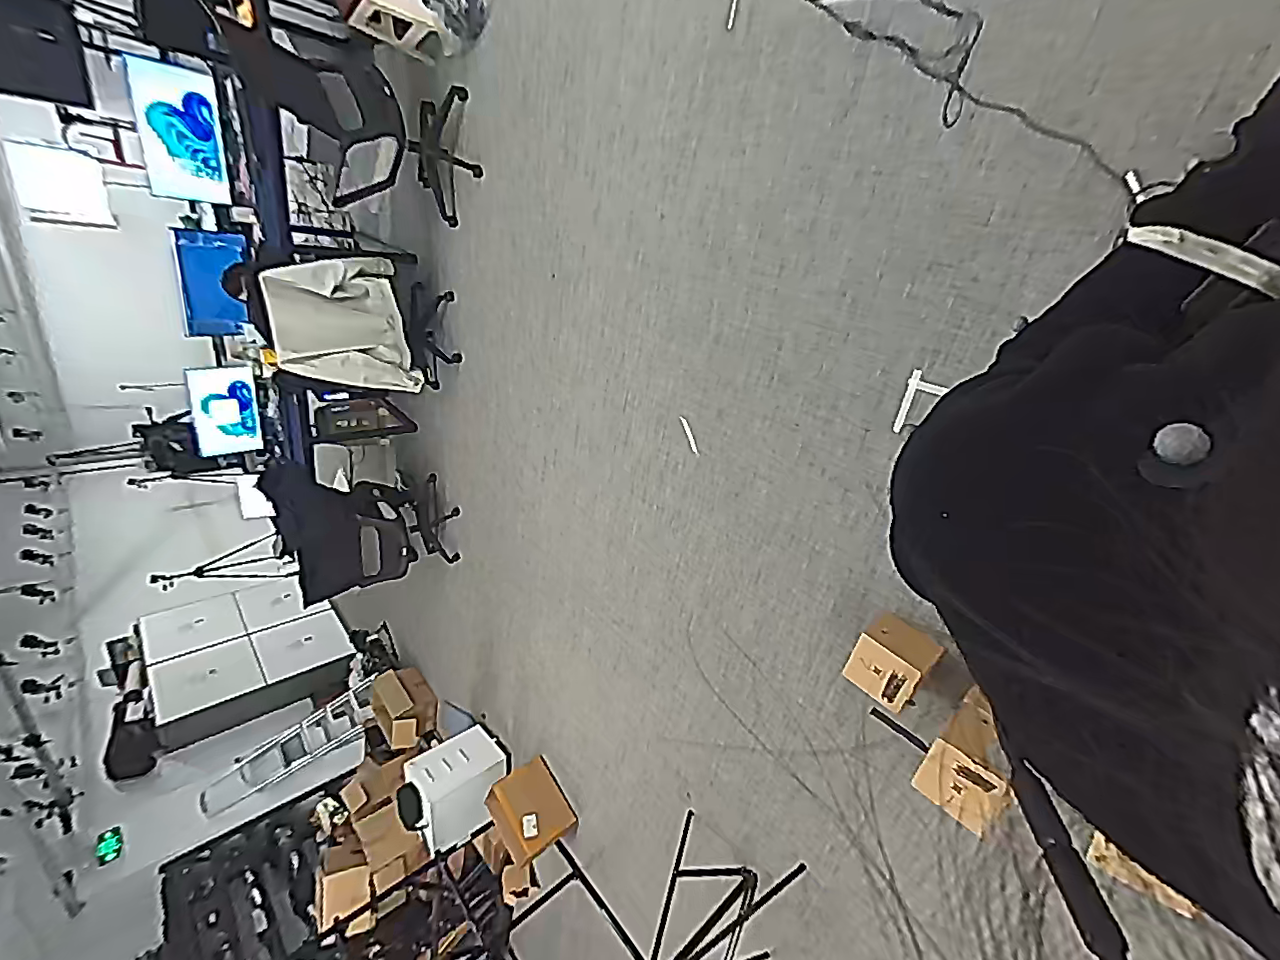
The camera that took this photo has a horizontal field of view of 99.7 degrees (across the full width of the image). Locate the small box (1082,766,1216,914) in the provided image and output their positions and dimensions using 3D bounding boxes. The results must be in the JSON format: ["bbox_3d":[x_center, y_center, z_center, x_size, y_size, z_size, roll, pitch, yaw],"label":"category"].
[{"bbox_3d":[1.111,0.772,1.184,0.179,0.176,0.168,18,114,42],"label":"small box"}]

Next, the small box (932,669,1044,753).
[{"bbox_3d":[0.889,0.624,1.377,0.168,0.176,0.179,35,125,35],"label":"small box"}]

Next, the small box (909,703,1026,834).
[{"bbox_3d":[0.772,0.666,1.269,0.168,0.176,0.179,32,124,37],"label":"small box"}]
